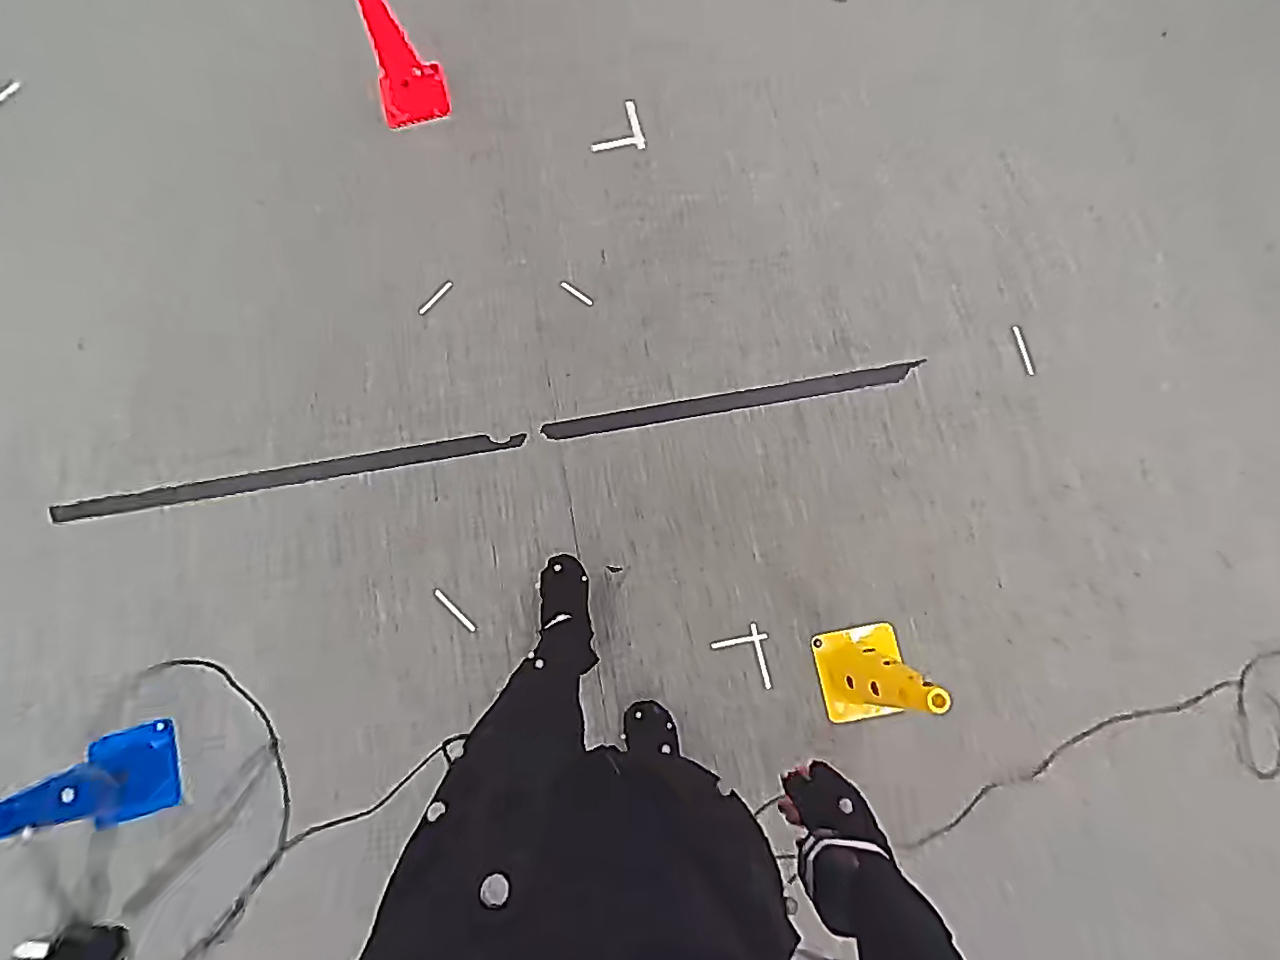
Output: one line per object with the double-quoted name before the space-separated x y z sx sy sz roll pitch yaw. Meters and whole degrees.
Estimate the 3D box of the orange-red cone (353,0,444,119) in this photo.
"orange-red cone" -0.707 -1.225 1.474 0.199 0.360 0.198 -15 78 0

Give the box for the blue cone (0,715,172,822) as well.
"blue cone" -1.192 0.634 1.099 0.193 0.380 0.192 -15 78 -2
